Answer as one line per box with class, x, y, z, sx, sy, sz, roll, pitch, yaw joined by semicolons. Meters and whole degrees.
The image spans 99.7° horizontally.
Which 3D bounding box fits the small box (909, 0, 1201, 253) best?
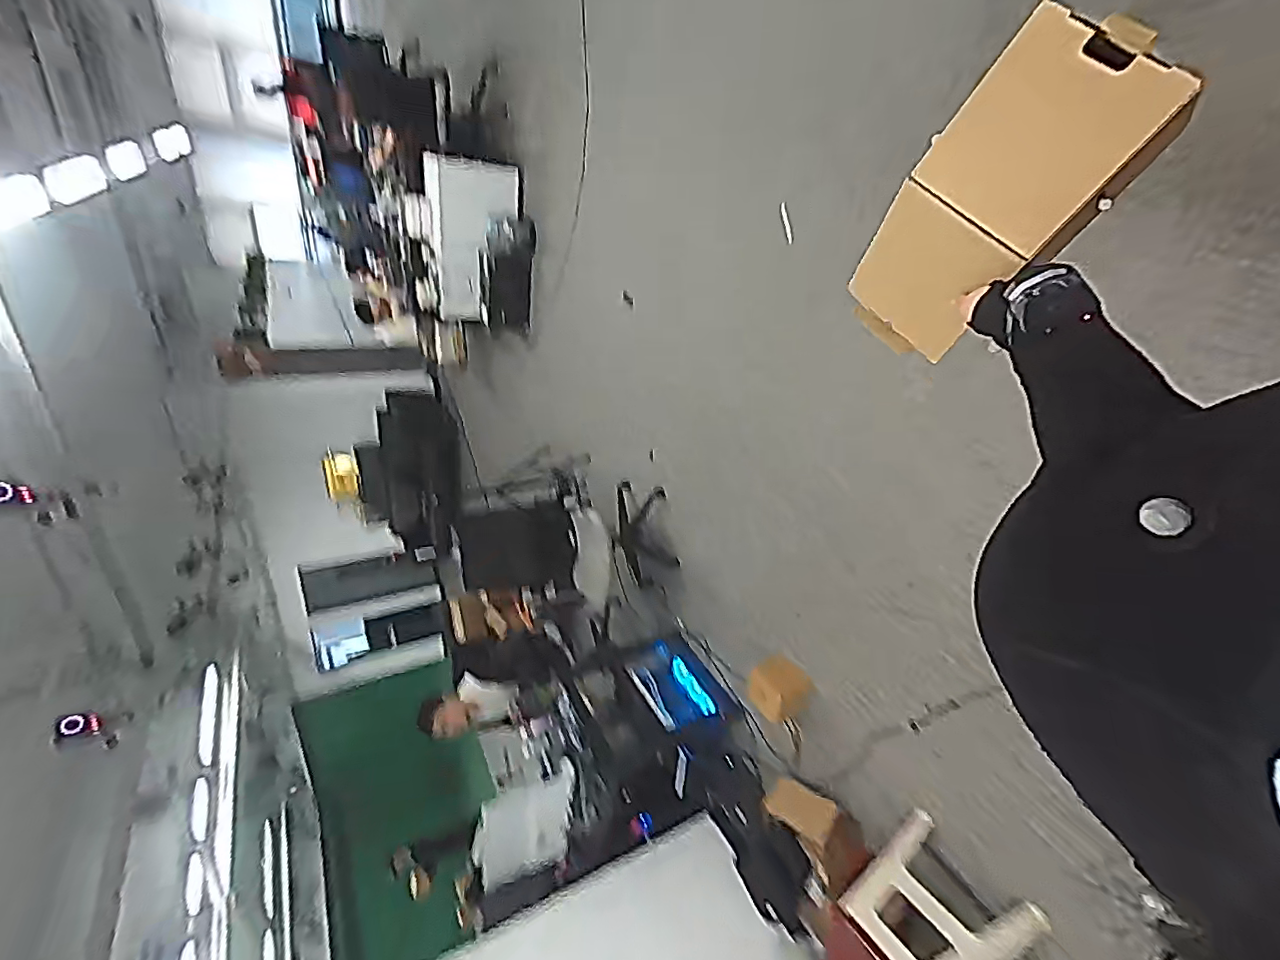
small box;0.440;-0.369;0.587;0.168;0.176;0.179;50;131;16
